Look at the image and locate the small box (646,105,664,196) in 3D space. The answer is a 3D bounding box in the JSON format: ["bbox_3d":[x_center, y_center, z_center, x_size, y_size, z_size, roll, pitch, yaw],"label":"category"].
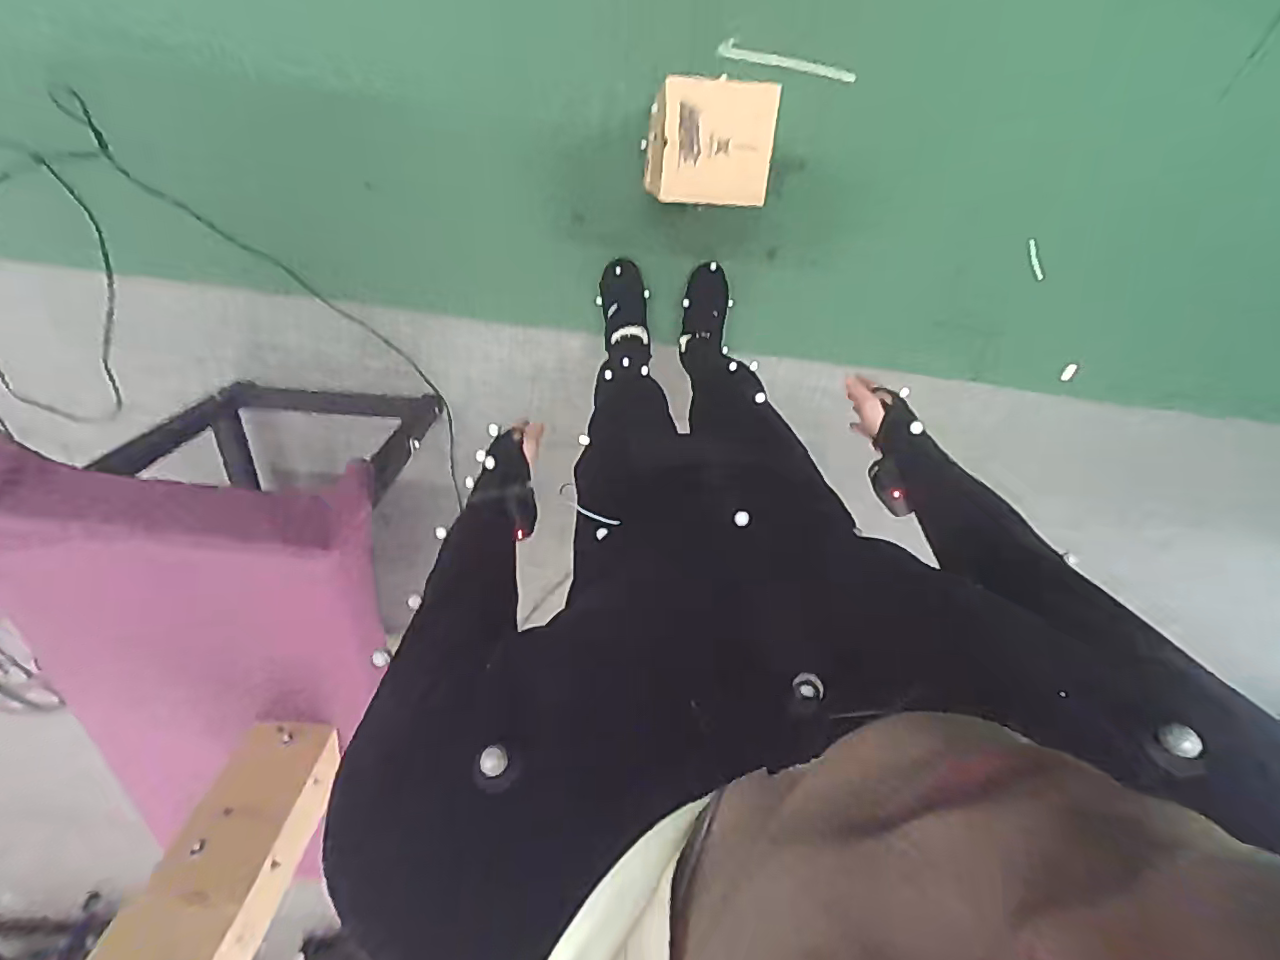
[{"bbox_3d":[0.113,-0.717,1.202,0.179,0.176,0.168,6,119,-4],"label":"small box"}]

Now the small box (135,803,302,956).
[{"bbox_3d":[-0.744,0.717,0.978,0.168,0.176,0.179,10,119,-6],"label":"small box"}]

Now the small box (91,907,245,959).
[{"bbox_3d":[-0.748,0.795,0.835,0.179,0.176,0.168,9,118,-6],"label":"small box"}]

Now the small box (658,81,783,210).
[{"bbox_3d":[0.123,-0.558,0.916,0.179,0.176,0.168,2,120,-3],"label":"small box"}]
